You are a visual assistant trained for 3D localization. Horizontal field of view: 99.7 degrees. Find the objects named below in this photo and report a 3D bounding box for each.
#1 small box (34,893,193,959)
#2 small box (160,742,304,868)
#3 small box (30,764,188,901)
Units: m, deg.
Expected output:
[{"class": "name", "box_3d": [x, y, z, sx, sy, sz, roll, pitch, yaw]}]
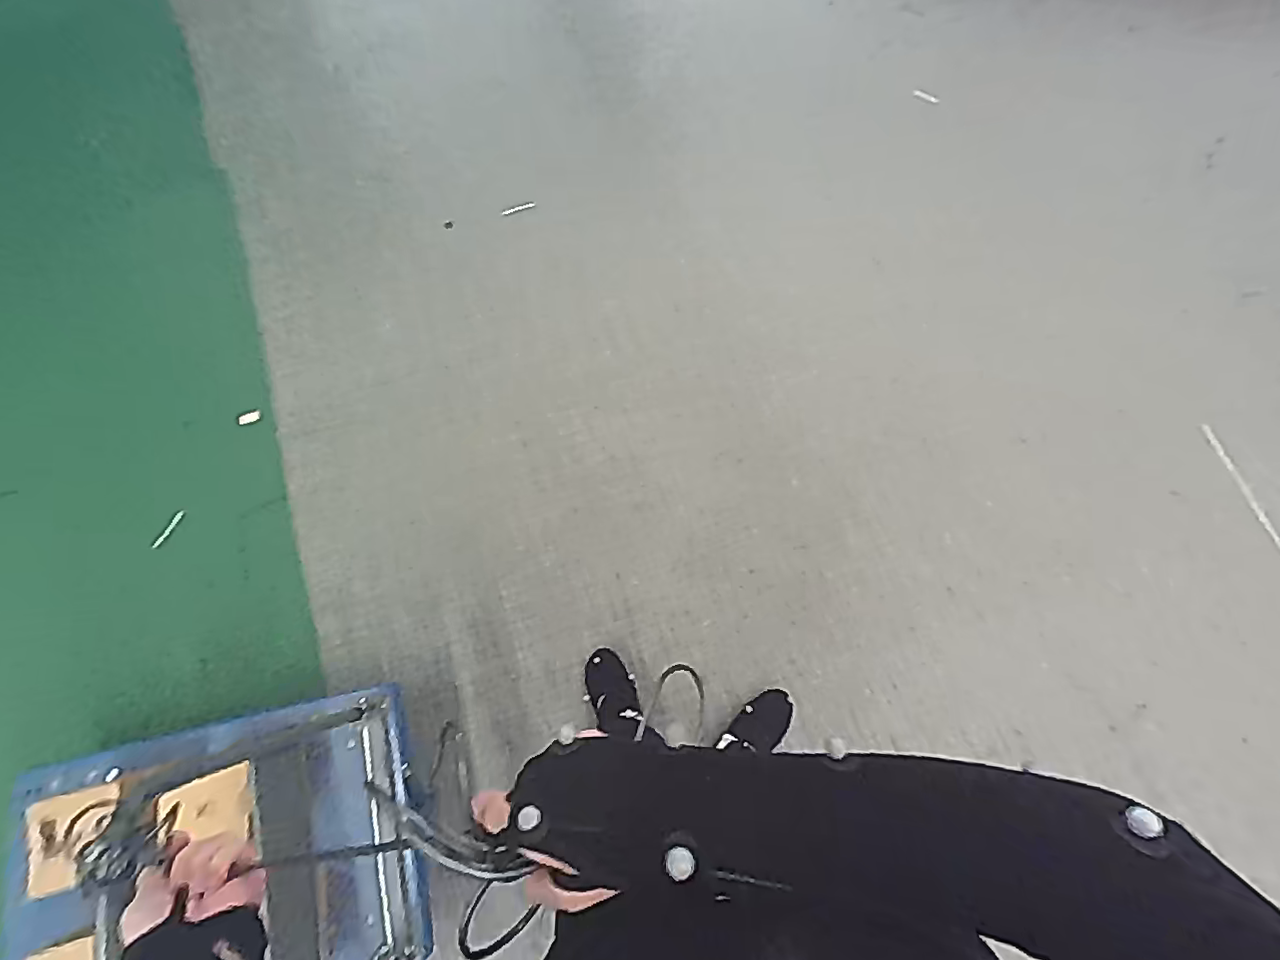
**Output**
[{"class": "small box", "box_3d": [-1.014, 0.952, 1.050, 0.179, 0.176, 0.168, -16, 76, -3]}, {"class": "small box", "box_3d": [-0.833, 0.660, 1.117, 0.179, 0.176, 0.168, -11, 77, -2]}, {"class": "small box", "box_3d": [-1.074, 0.710, 1.109, 0.179, 0.176, 0.168, -14, 77, -3]}]
